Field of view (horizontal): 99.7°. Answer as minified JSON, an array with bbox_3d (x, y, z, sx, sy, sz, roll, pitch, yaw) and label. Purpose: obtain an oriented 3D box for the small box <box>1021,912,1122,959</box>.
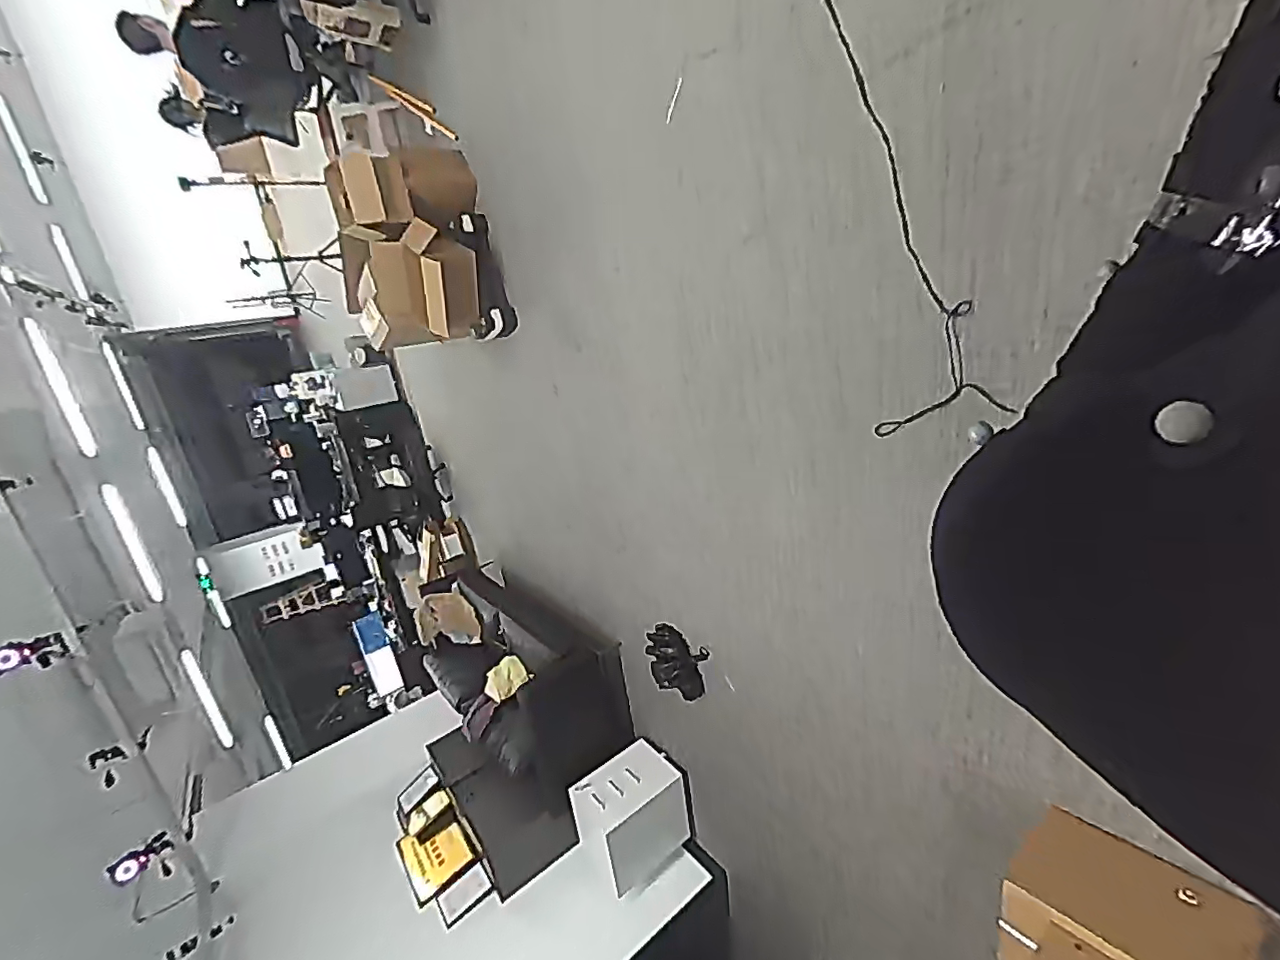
[{"bbox_3d":[0.977,1.139,1.213,0.168,0.176,0.179,10,115,53],"label":"small box"}]
